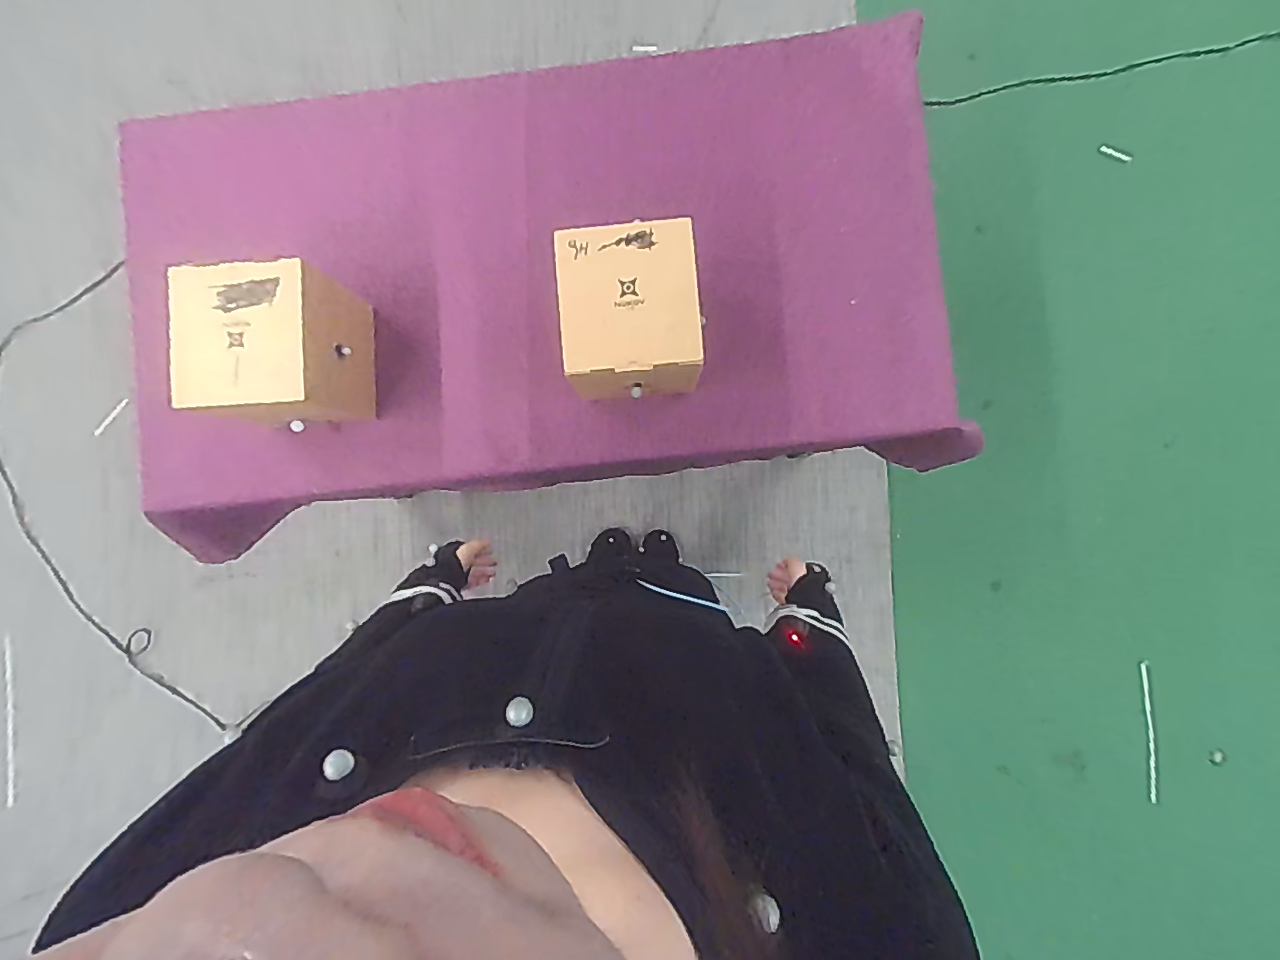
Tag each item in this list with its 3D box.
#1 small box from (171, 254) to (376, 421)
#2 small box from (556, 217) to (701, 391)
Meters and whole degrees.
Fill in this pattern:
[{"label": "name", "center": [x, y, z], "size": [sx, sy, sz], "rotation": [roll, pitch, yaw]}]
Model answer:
[{"label": "small box", "center": [-0.475, -0.180, 0.725], "size": [0.168, 0.176, 0.179], "rotation": [-3, 89, 1]}, {"label": "small box", "center": [-0.010, -0.217, 0.715], "size": [0.168, 0.176, 0.179], "rotation": [-4, 89, 1]}]
